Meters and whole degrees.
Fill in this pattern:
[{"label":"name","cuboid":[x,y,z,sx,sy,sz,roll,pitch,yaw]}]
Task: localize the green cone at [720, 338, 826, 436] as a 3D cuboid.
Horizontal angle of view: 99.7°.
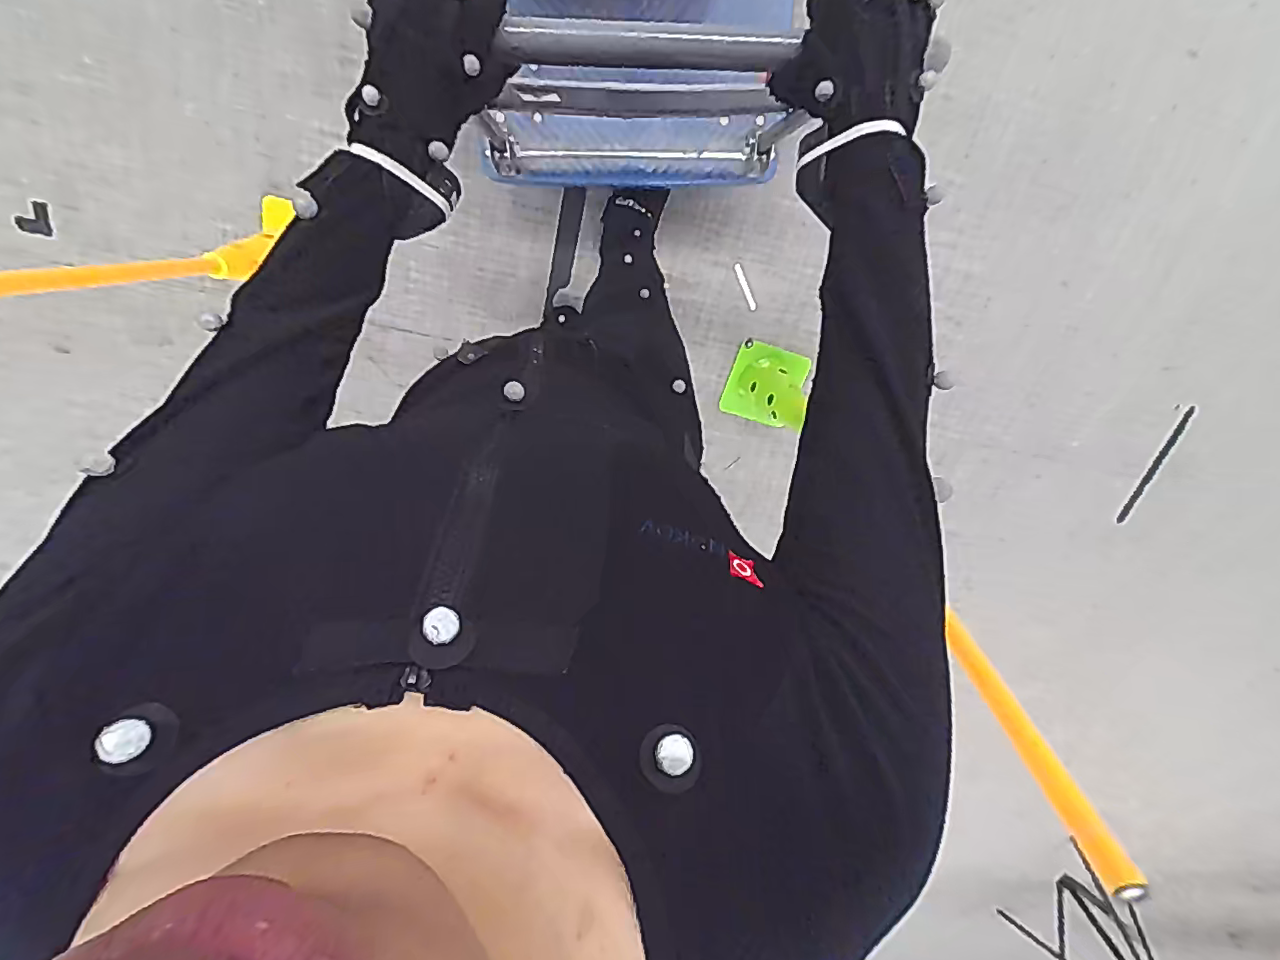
[{"label":"green cone","cuboid":[0.346,-0.184,1.281,0.202,0.368,0.200,14,114,-12]}]
